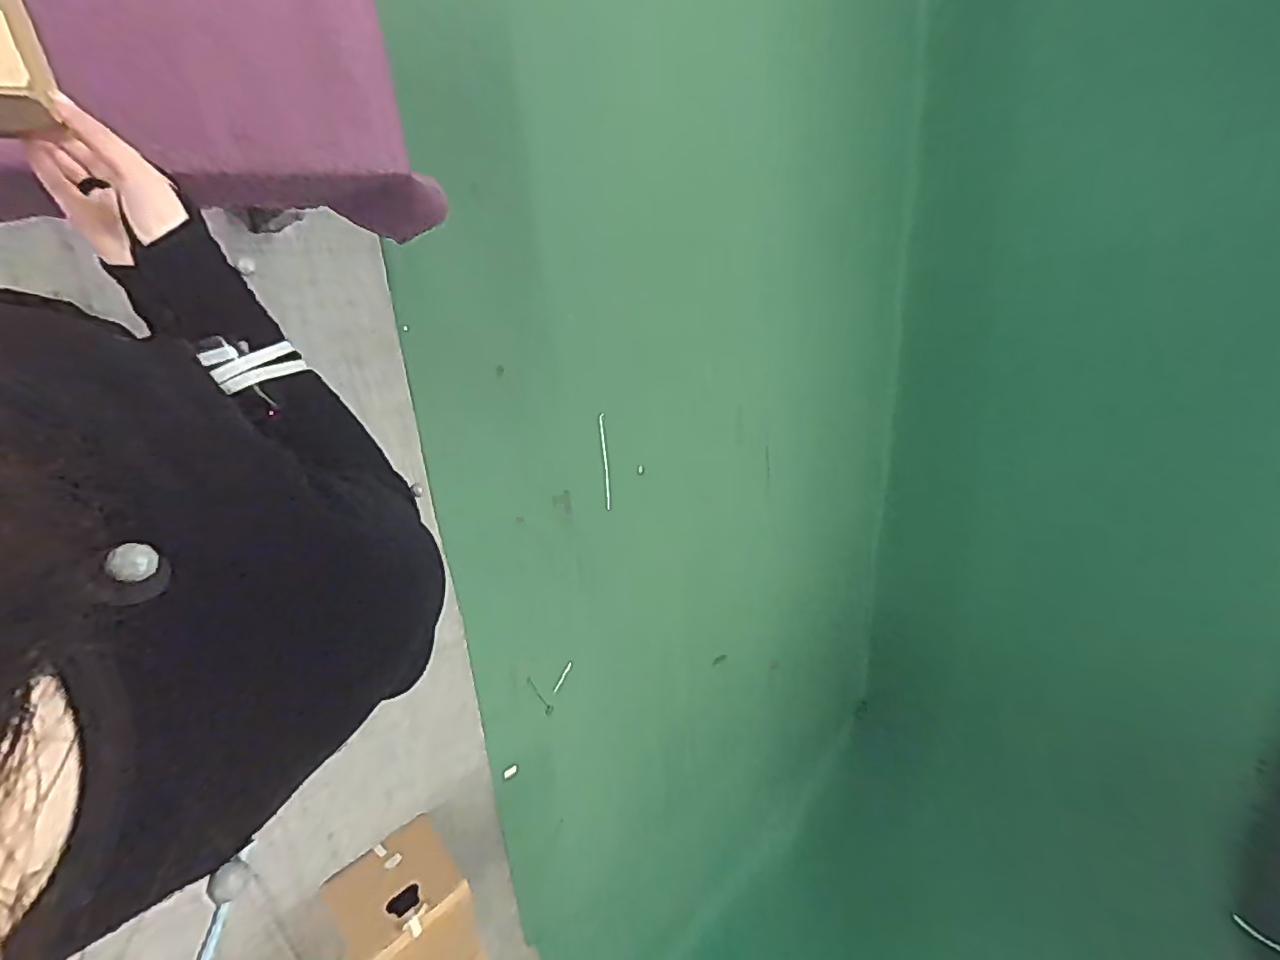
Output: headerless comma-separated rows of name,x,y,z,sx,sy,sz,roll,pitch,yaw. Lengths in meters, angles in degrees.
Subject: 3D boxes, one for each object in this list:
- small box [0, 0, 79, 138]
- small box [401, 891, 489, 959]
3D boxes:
small box,-0.419,-0.271,0.256,0.168,0.176,0.179,-22,123,-33
small box,-0.538,1.306,1.490,0.179,0.176,0.168,-25,120,-39
